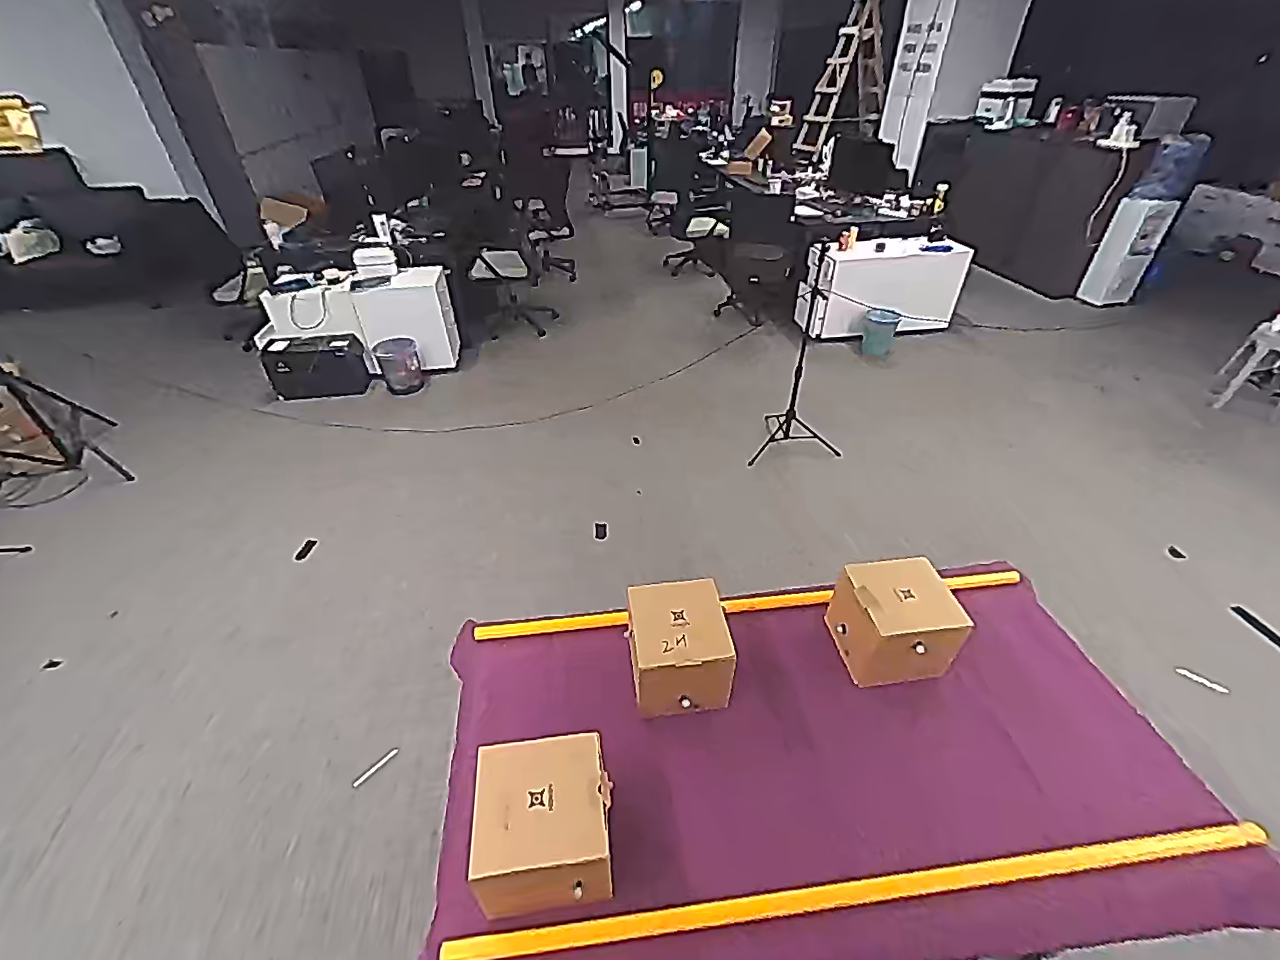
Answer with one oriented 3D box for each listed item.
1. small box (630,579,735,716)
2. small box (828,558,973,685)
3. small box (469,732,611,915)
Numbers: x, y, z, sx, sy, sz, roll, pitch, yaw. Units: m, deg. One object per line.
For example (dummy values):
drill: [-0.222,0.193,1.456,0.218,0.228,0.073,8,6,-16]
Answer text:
small box: [0.069,0.311,1.008,0.168,0.176,0.179,-5,40,-5]
small box: [0.489,0.275,1.047,0.179,0.176,0.168,-6,39,-5]
small box: [-0.136,0.491,0.777,0.179,0.176,0.168,-4,37,-7]
